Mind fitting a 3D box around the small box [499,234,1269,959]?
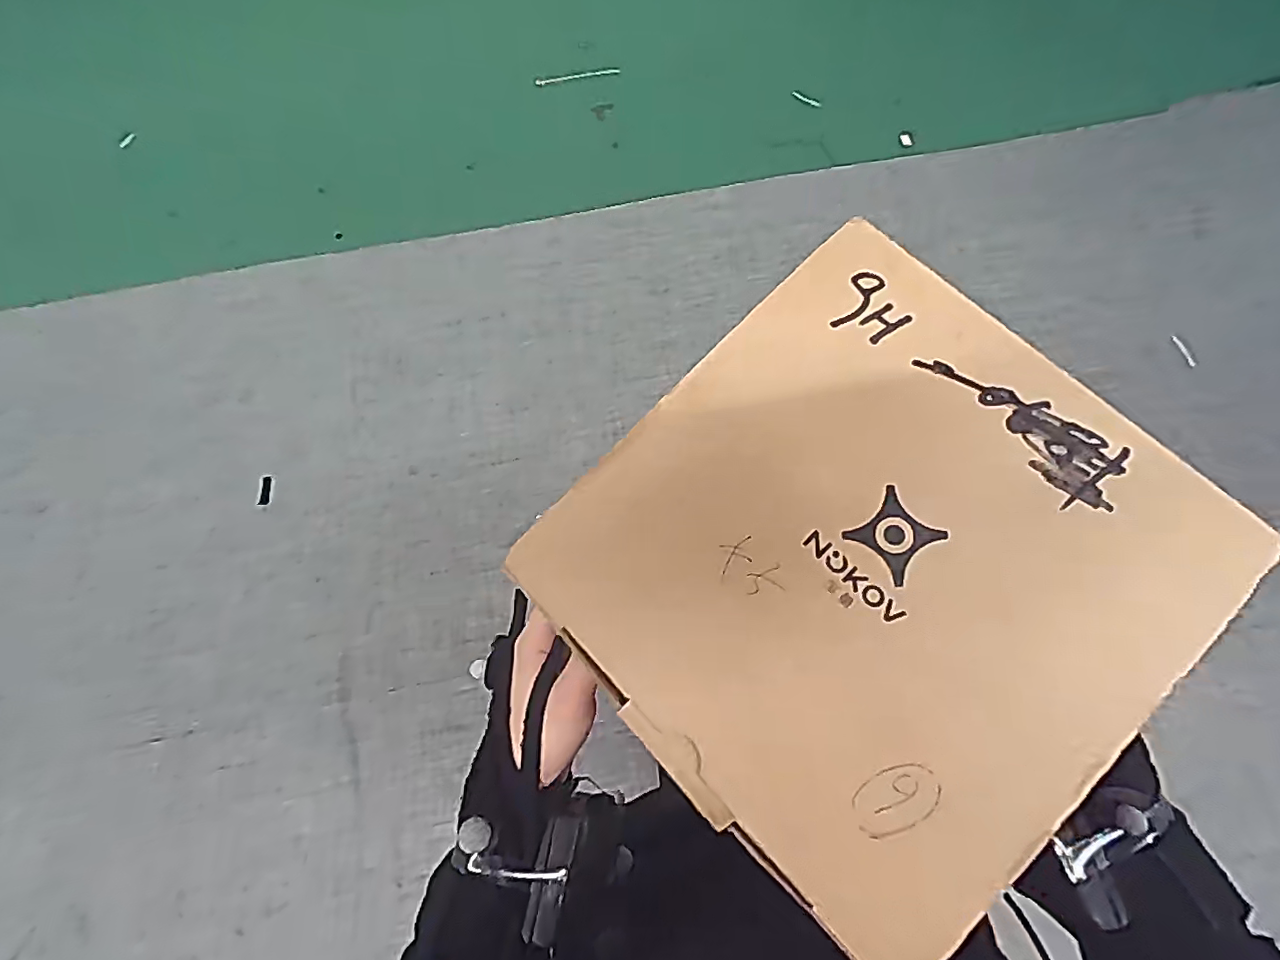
[{"bbox_3d":[0.076,0.043,0.247,0.179,0.176,0.168,-44,78,-4],"label":"small box"}]
